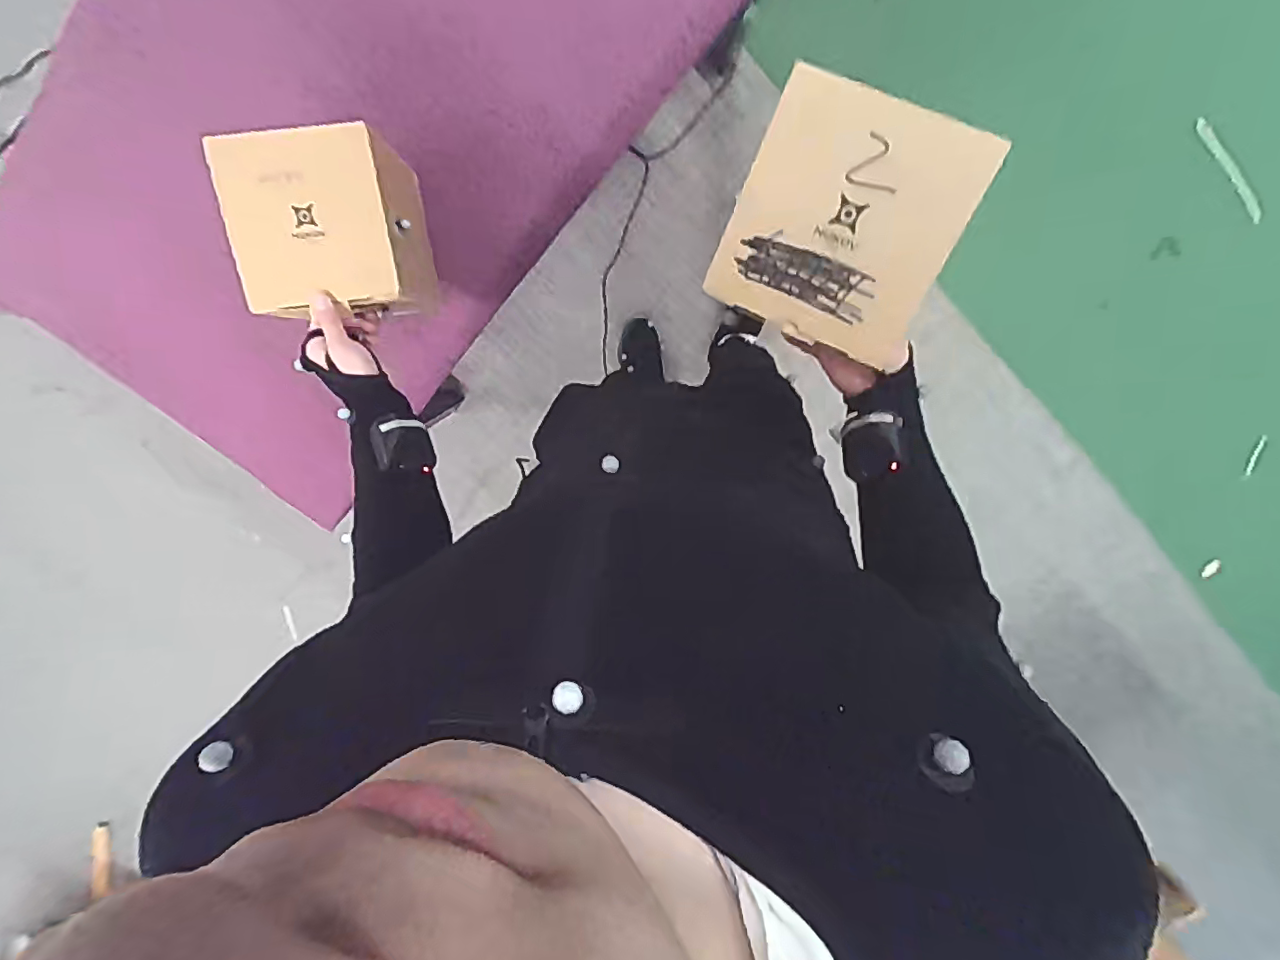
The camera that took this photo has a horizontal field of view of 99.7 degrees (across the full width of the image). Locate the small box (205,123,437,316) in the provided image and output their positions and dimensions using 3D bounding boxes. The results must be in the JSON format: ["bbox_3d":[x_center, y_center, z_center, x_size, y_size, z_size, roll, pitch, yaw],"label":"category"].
[{"bbox_3d":[-0.360,-0.295,0.651,0.168,0.176,0.179,-8,104,-4],"label":"small box"}]

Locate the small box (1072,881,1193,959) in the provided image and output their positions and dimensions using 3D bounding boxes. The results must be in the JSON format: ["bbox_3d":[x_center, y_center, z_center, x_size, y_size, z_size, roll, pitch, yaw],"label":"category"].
[{"bbox_3d":[1.269,1.177,1.376,0.179,0.176,0.168,43,105,-11],"label":"small box"}]
